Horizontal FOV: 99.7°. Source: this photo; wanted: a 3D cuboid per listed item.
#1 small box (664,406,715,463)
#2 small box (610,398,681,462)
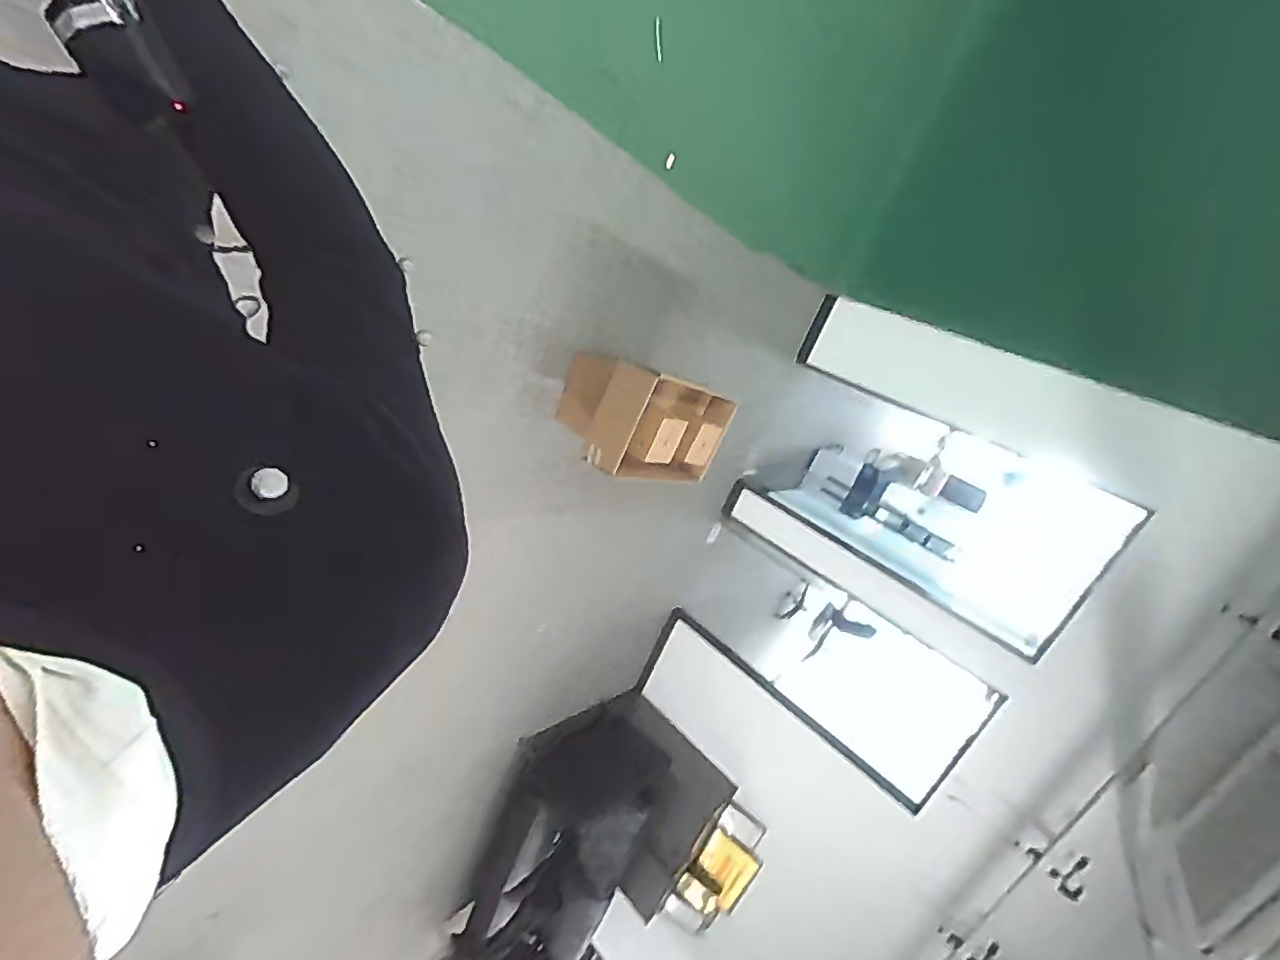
[{"bbox_3d":[0.171,-0.187,2.215,0.168,0.176,0.179,6,114,-55],"label":"small box"},{"bbox_3d":[0.015,-0.182,1.997,0.168,0.176,0.179,0,118,-55],"label":"small box"}]
